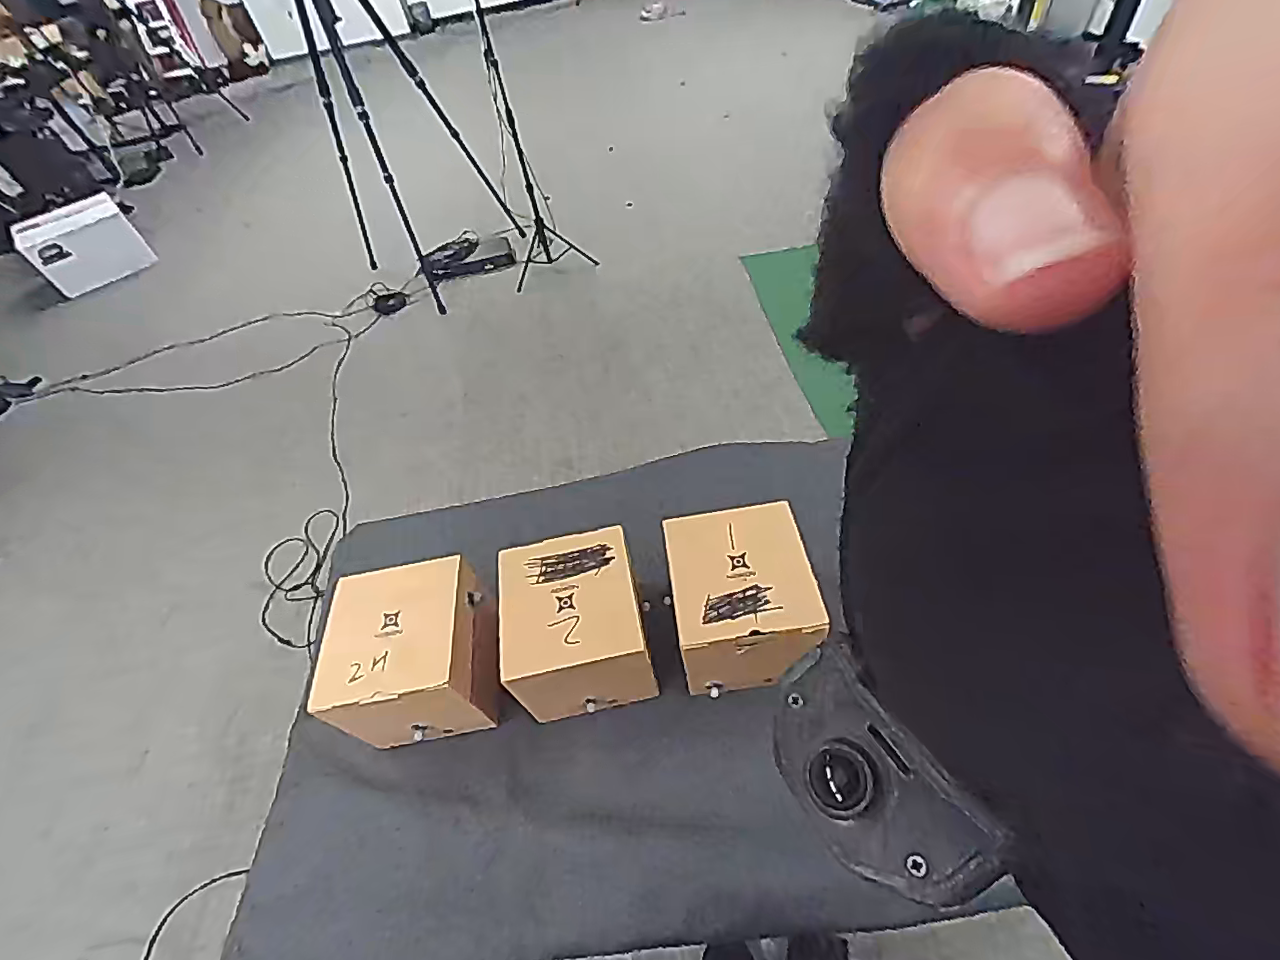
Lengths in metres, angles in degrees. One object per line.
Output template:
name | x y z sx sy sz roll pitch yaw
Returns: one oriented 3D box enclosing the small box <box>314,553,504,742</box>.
small box | -0.288 0.225 0.721 0.168 0.176 0.179 -11 50 1
